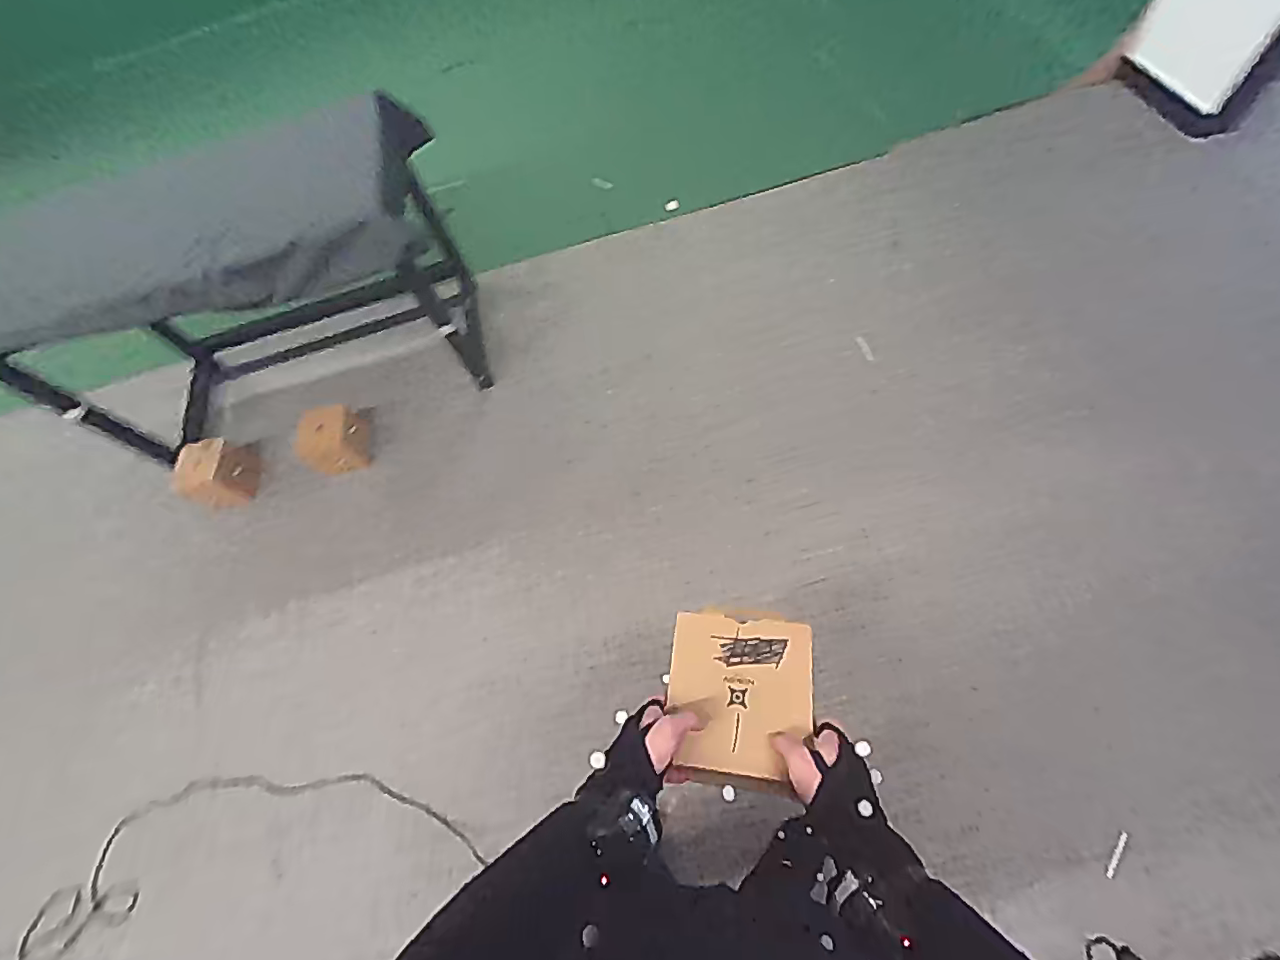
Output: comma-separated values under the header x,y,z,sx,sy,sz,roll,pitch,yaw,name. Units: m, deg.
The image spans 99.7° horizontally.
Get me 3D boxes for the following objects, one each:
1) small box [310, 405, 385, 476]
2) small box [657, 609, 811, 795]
x,y,z,sx,sy,sz,roll,pitch,yaw,name
-1.023,-0.130,1.904,0.168,0.176,0.179,-13,60,3,small box
0.121,0.282,0.684,0.168,0.176,0.179,2,57,12,small box
